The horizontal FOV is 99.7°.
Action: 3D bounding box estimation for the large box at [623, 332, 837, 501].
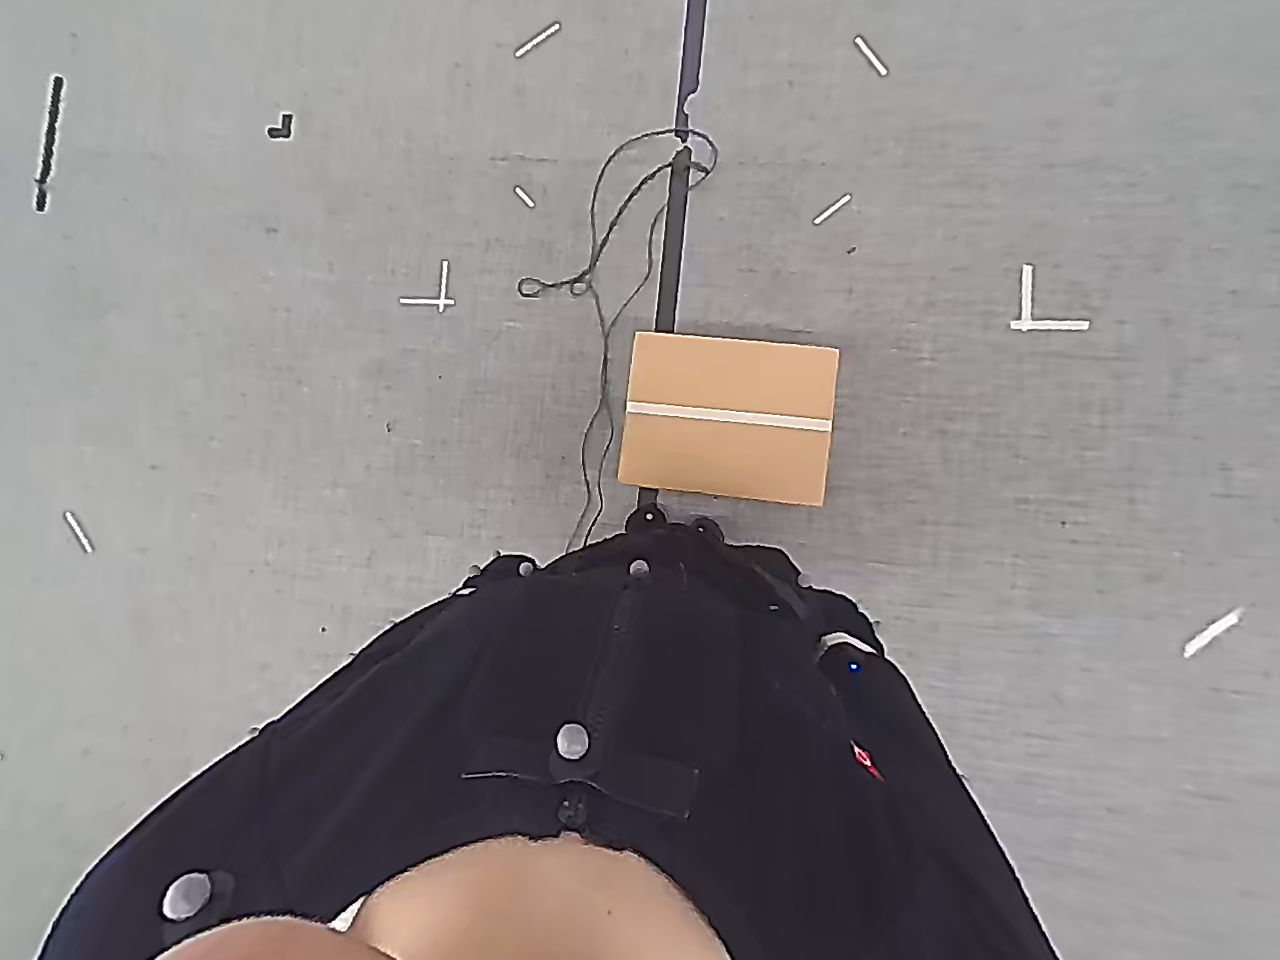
[{"bbox_3d":[0.188,-0.125,1.225,0.408,0.320,0.320,7,90,6],"label":"large box"}]
